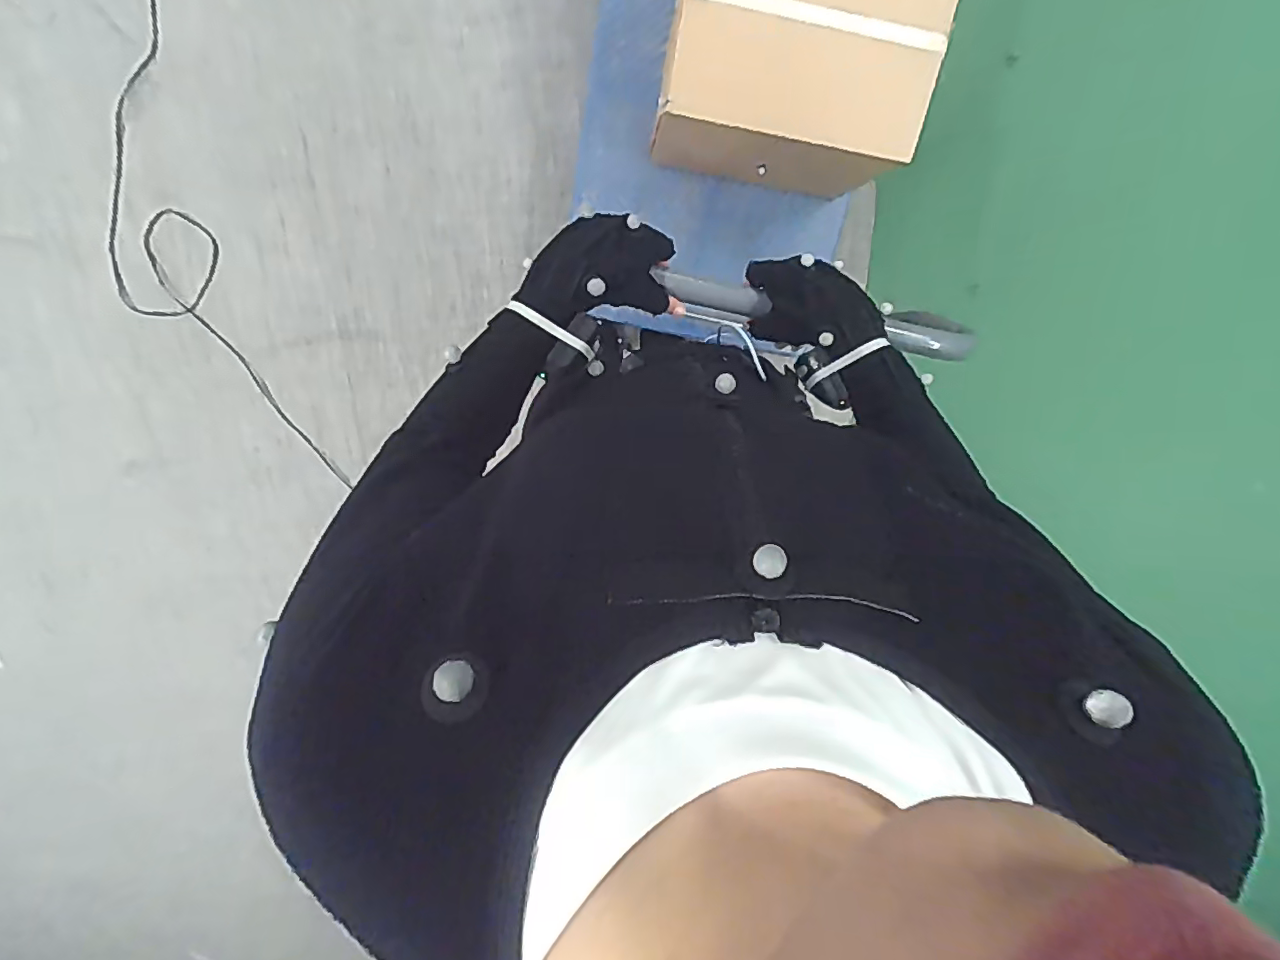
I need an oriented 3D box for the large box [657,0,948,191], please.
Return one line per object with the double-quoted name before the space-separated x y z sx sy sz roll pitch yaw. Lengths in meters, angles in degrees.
"large box" 0.256 -0.733 0.956 0.408 0.320 0.320 8 107 -4
